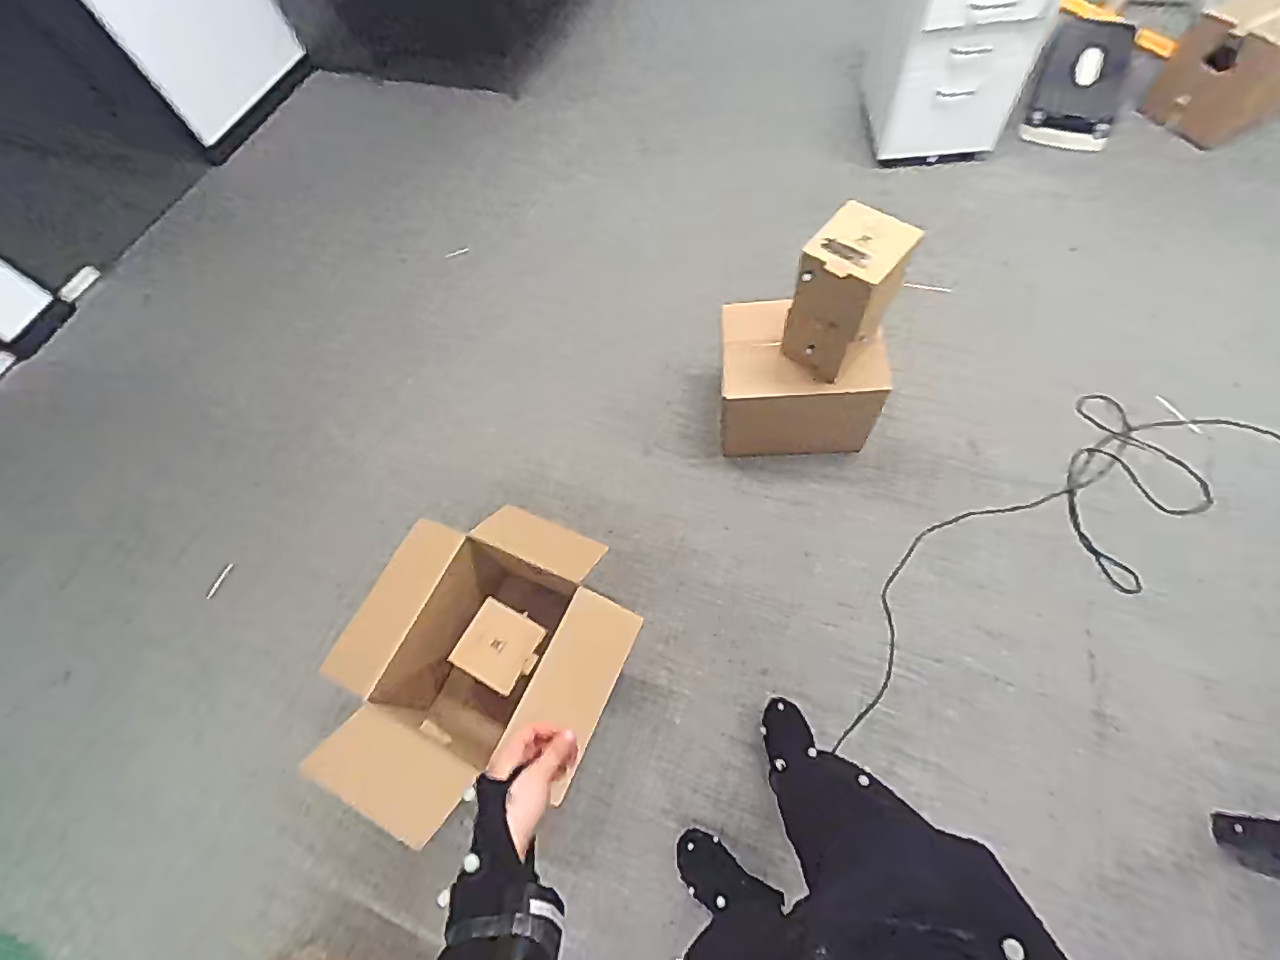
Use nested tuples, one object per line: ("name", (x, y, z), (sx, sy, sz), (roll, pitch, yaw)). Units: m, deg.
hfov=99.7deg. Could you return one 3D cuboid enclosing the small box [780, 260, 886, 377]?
("small box", (0.453, -0.381, 1.299), (0.168, 0.176, 0.179), (37, 76, 21))
